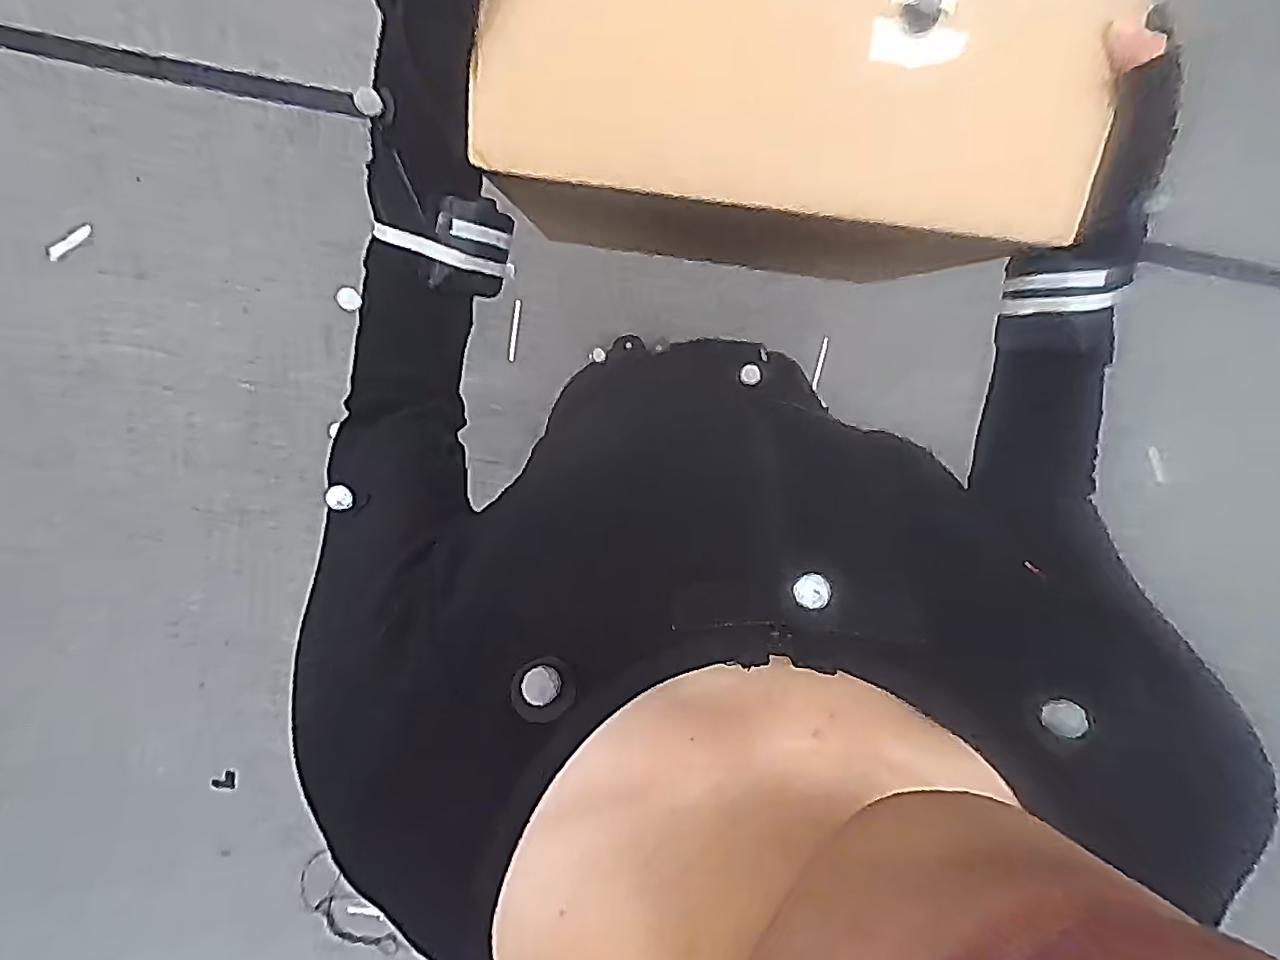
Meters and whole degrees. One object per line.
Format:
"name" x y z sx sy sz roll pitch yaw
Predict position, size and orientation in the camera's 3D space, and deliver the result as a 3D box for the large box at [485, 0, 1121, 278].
"large box" 0.104 -0.375 0.474 0.408 0.320 0.320 6 105 -3
